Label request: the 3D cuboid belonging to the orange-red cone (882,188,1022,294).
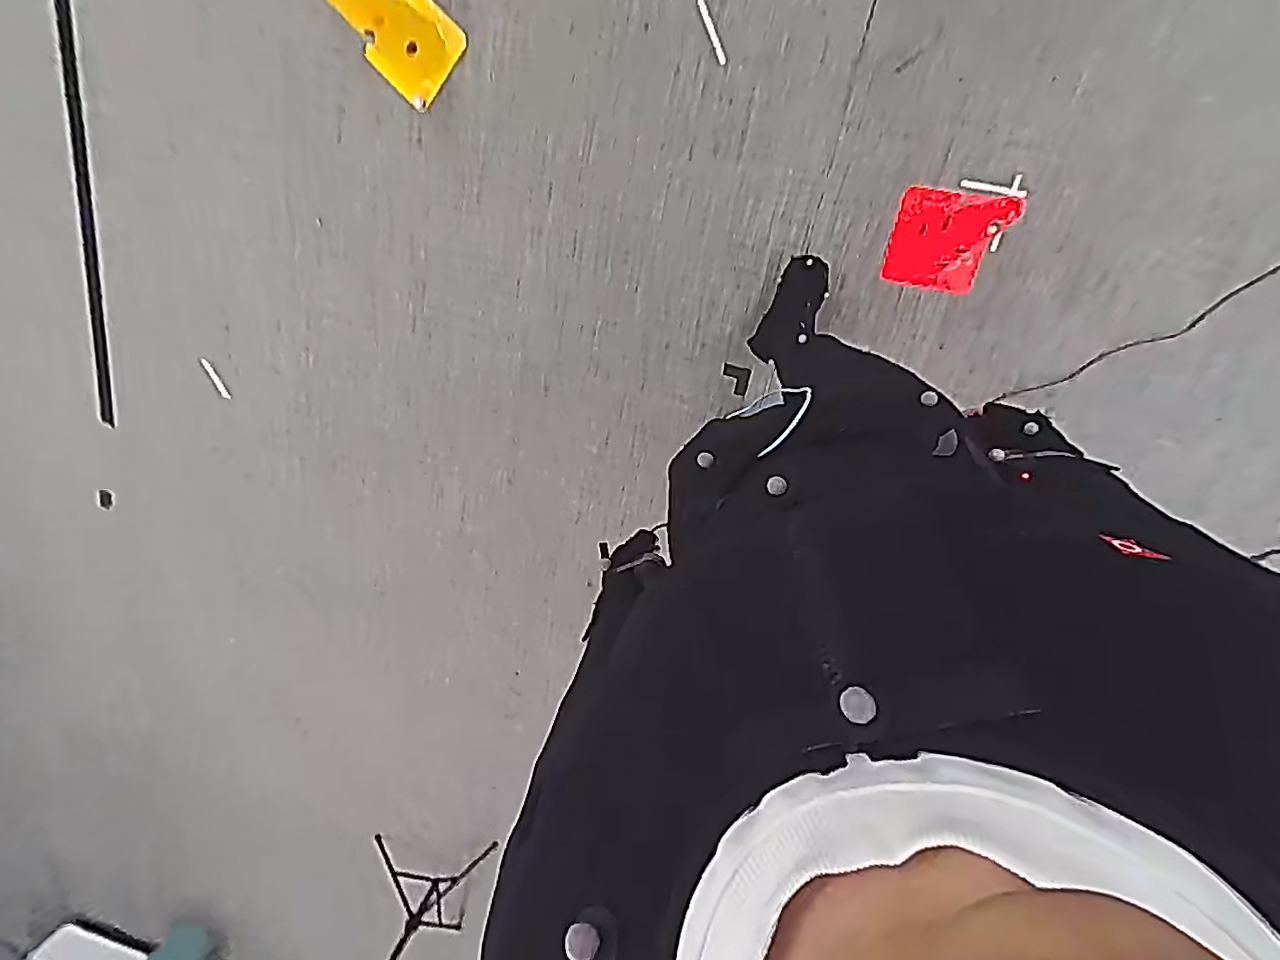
[{"bbox_3d":[0.627,-0.485,1.036,0.199,0.360,0.198,15,107,8],"label":"orange-red cone"}]
